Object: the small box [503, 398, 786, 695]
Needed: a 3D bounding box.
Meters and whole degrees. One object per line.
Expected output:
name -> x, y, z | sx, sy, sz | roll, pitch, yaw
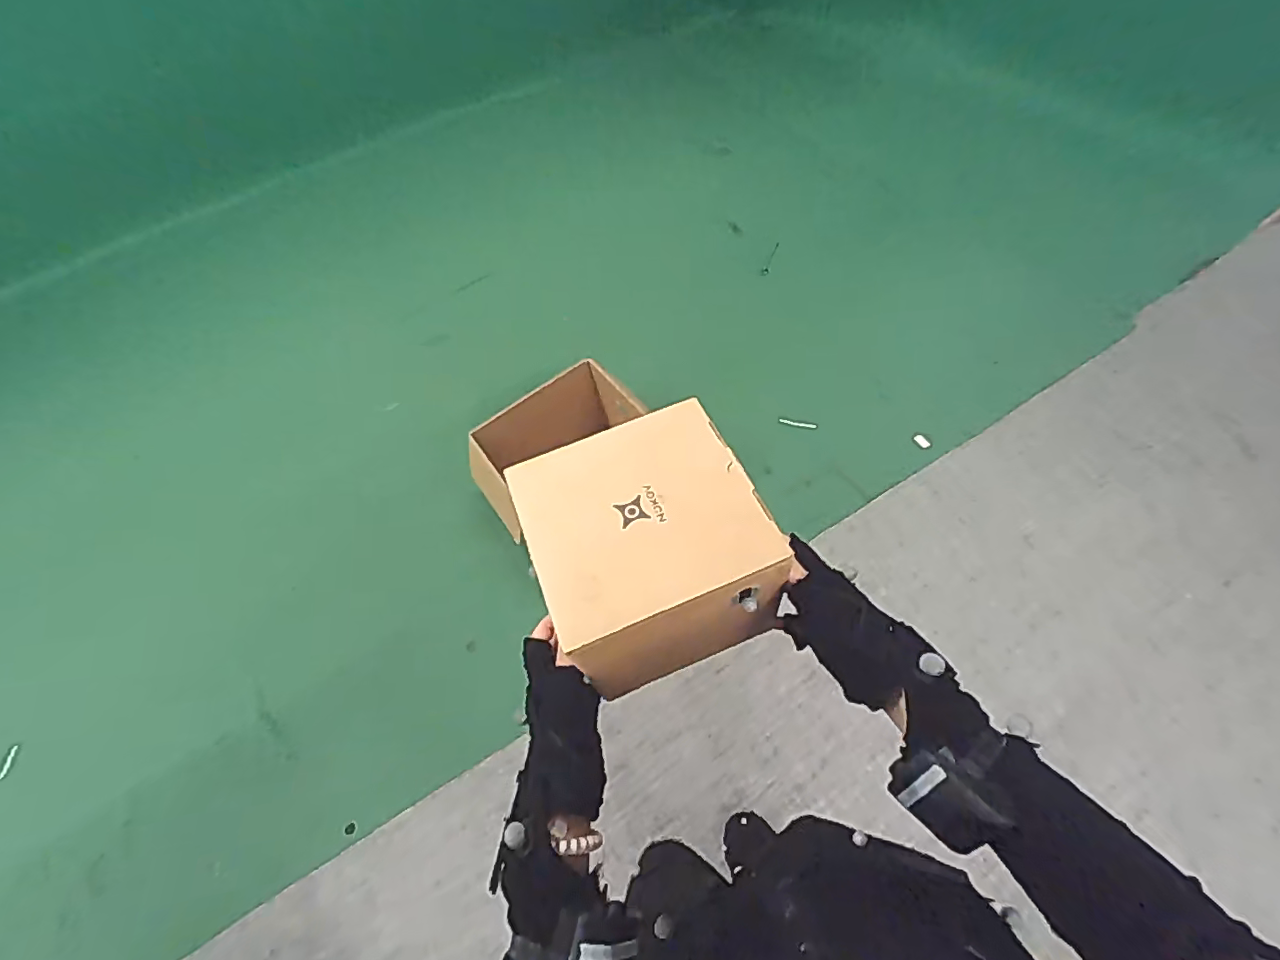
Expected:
small box -> 0.005, 0.065, 0.474 | 0.179, 0.176, 0.168 | -22, 57, -7
